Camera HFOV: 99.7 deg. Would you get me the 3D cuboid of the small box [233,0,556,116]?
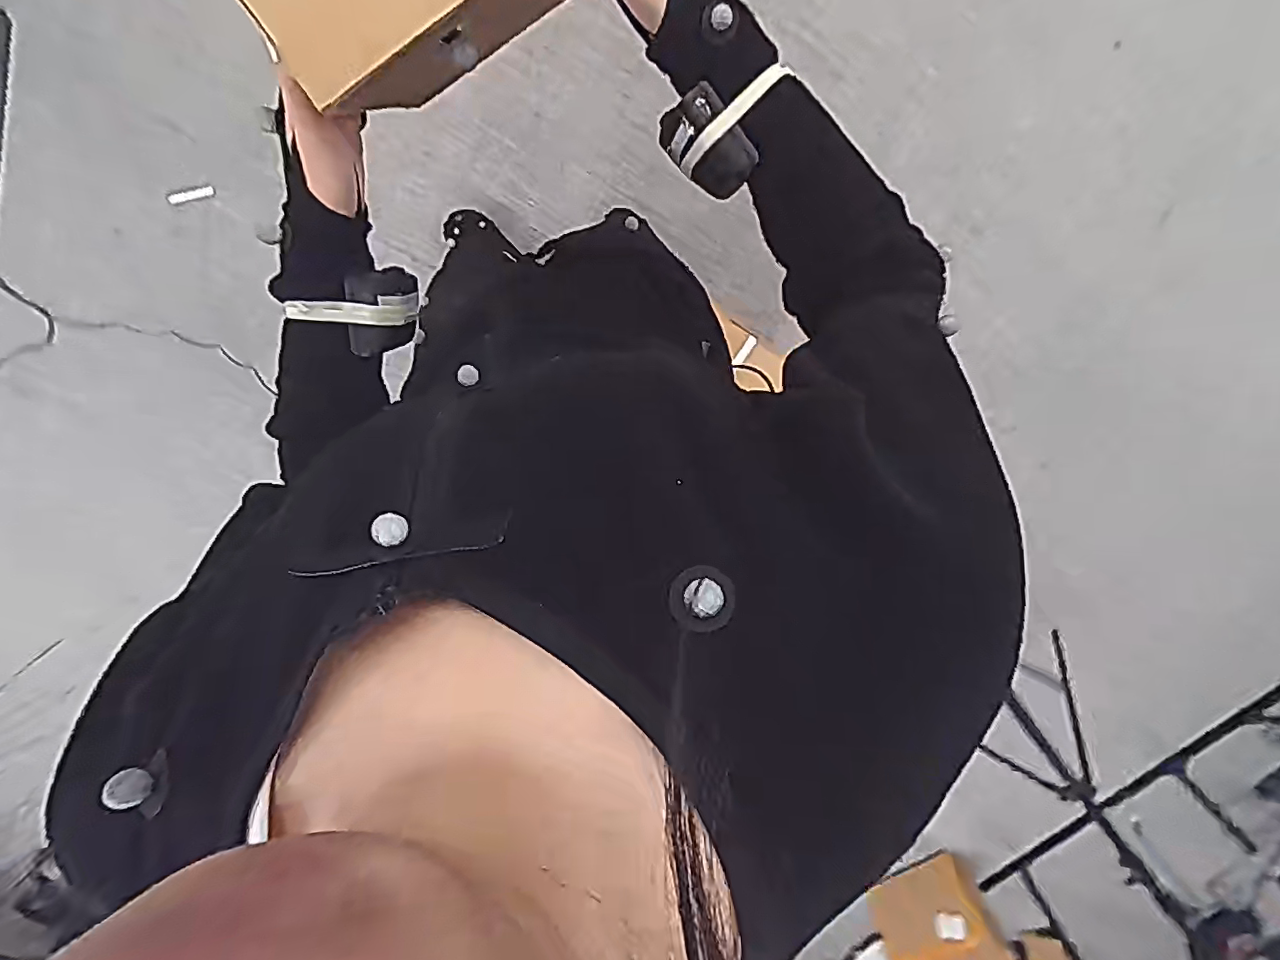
[{"bbox_3d":[-0.142,-0.341,0.301,0.179,0.176,0.168,-23,123,16],"label":"small box"}]
